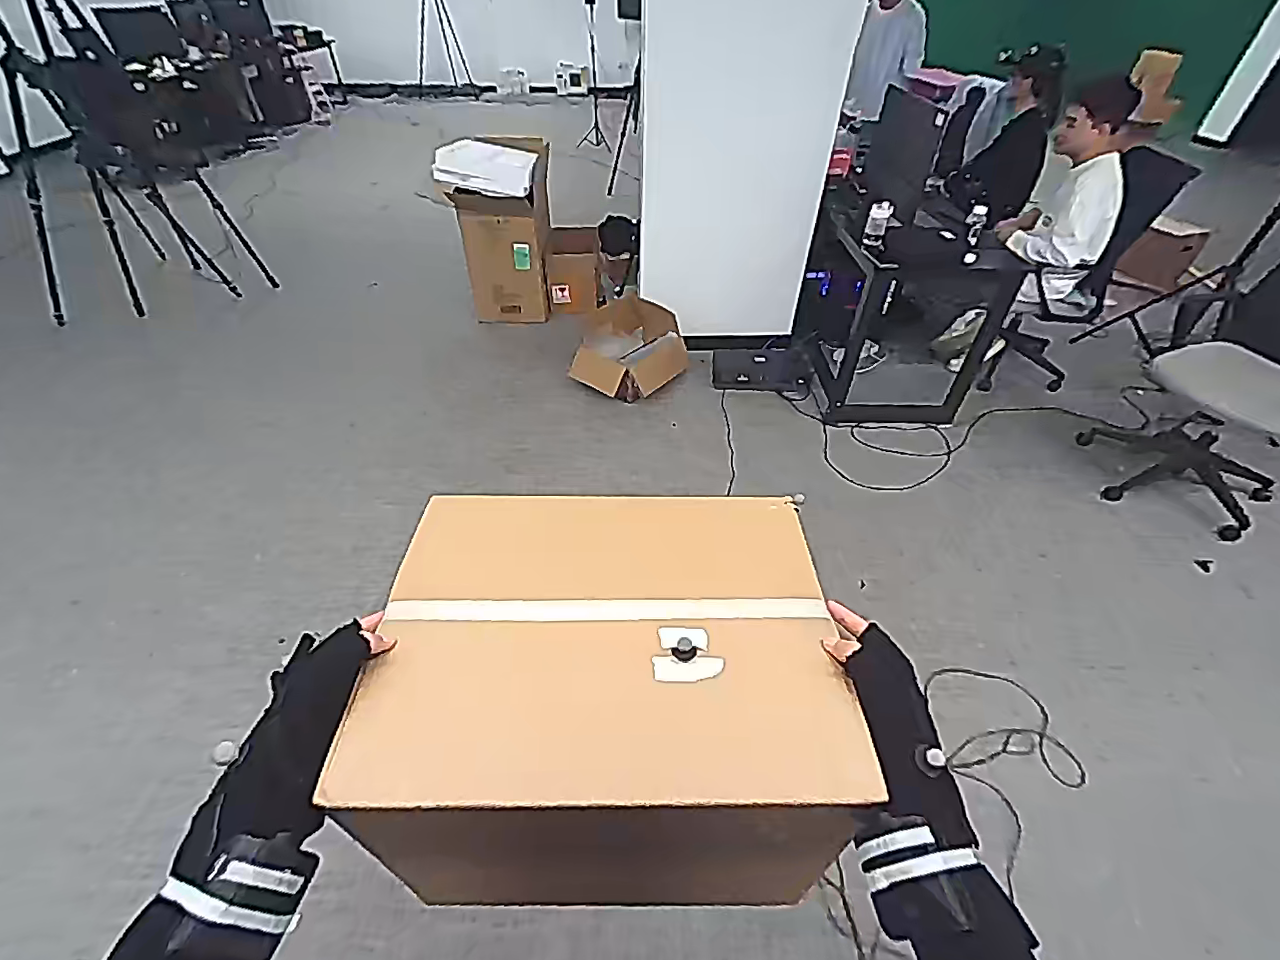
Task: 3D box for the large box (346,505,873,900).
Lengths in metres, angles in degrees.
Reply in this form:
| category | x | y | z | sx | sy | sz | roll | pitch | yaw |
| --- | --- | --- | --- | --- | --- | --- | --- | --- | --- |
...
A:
| category | x | y | z | sx | sy | sz | roll | pitch | yaw |
| --- | --- | --- | --- | --- | --- | --- | --- | --- | --- |
| large box | -0.027 | 0.242 | 0.609 | 0.408 | 0.320 | 0.320 | 1 | 41 | -1 |
